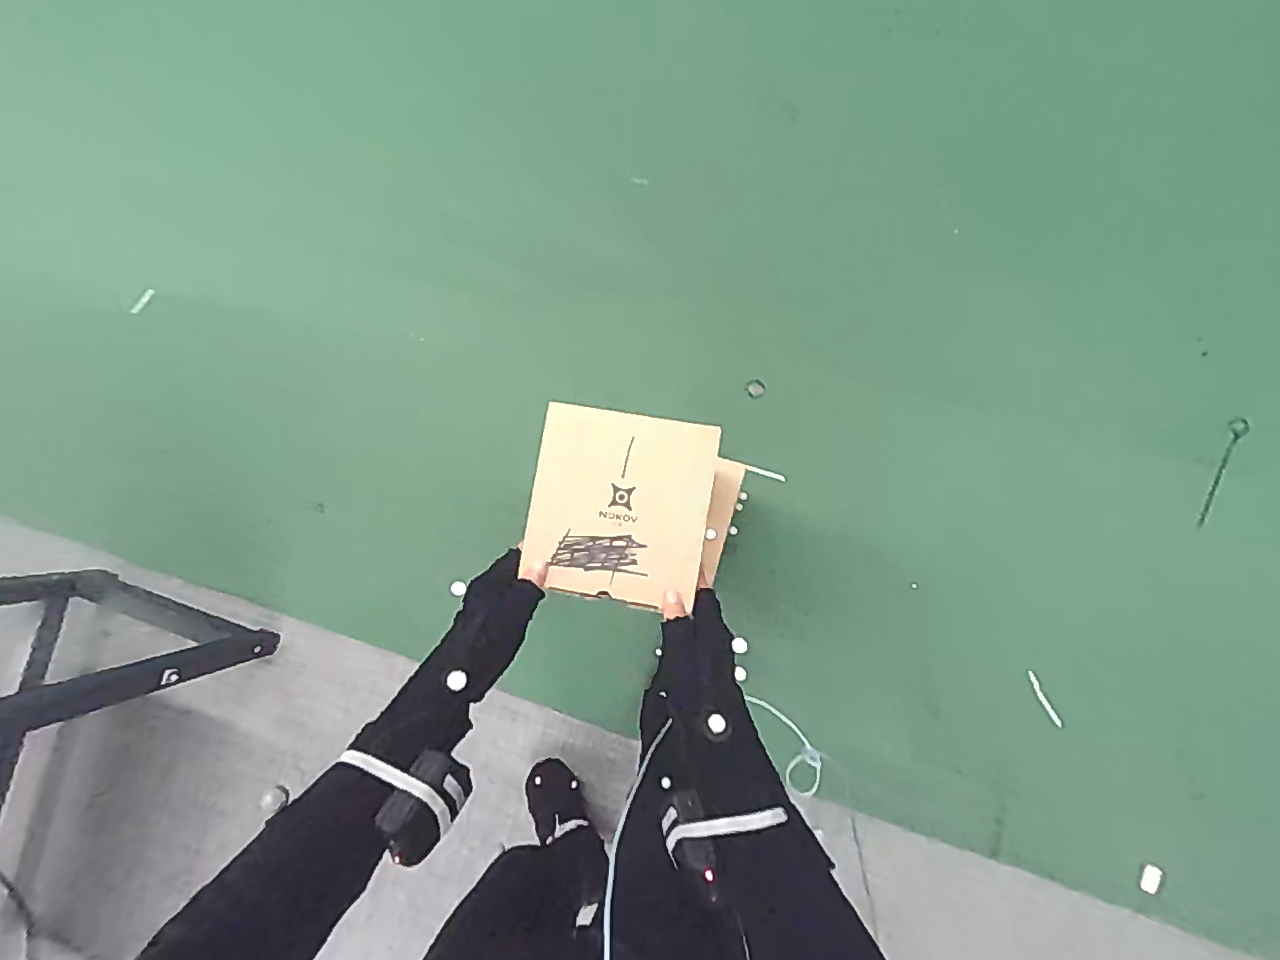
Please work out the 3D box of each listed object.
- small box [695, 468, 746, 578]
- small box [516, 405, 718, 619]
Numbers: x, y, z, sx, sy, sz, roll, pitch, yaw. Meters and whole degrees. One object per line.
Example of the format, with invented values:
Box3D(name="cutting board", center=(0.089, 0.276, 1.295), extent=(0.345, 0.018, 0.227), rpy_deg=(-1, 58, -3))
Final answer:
Box3D(name="small box", center=(0.085, 0.061, 0.980), extent=(0.168, 0.176, 0.179), rpy_deg=(16, 89, 9))
Box3D(name="small box", center=(-0.016, 0.033, 0.574), extent=(0.168, 0.176, 0.179), rpy_deg=(9, 86, 4))
